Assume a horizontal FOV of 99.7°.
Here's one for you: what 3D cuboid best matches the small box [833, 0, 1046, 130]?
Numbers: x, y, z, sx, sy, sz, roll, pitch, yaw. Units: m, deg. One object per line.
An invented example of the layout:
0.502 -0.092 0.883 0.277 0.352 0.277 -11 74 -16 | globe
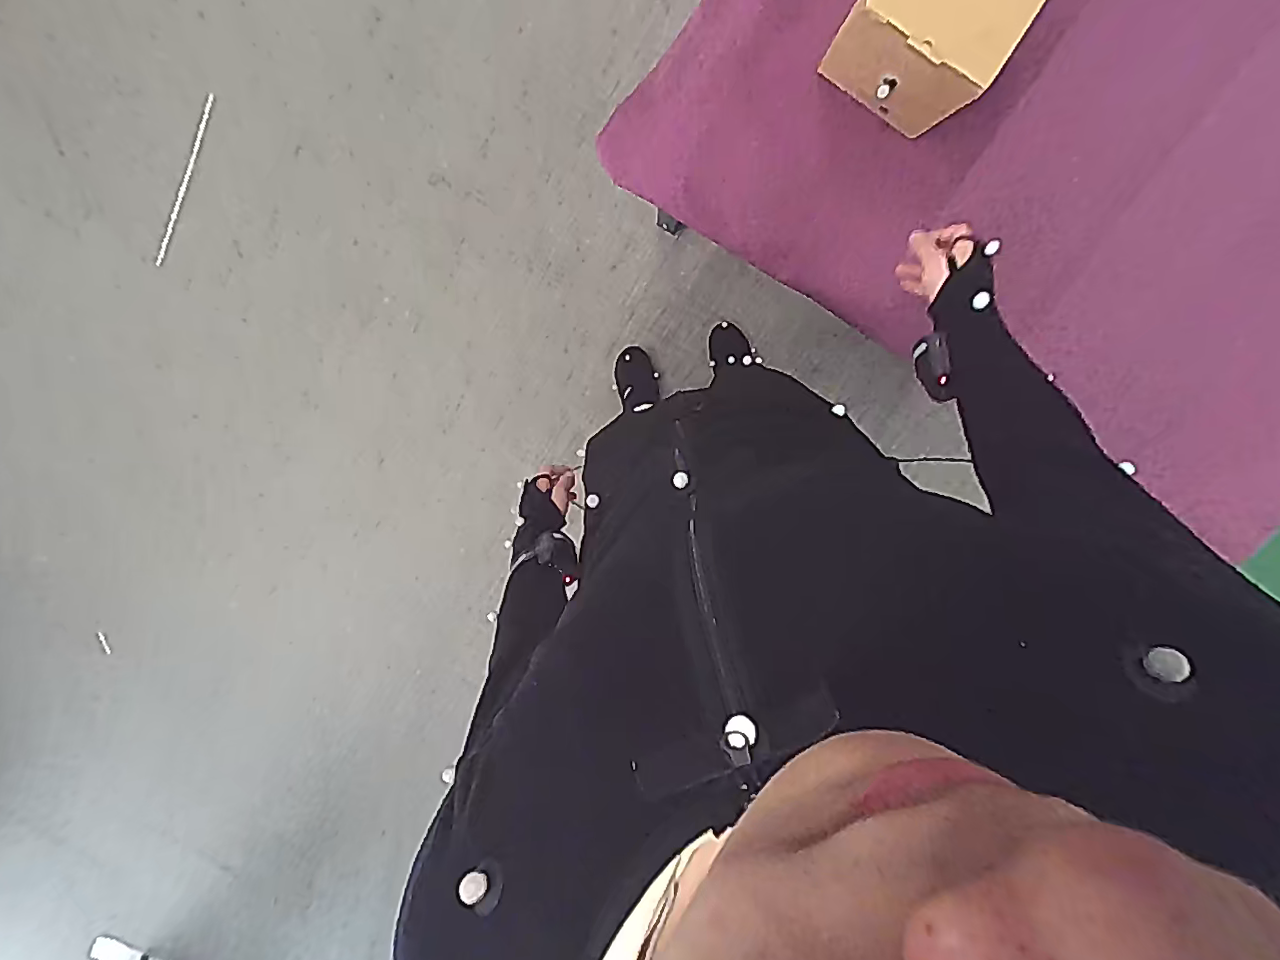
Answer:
0.350 -0.555 0.631 0.168 0.176 0.179 29 106 -8 | small box
